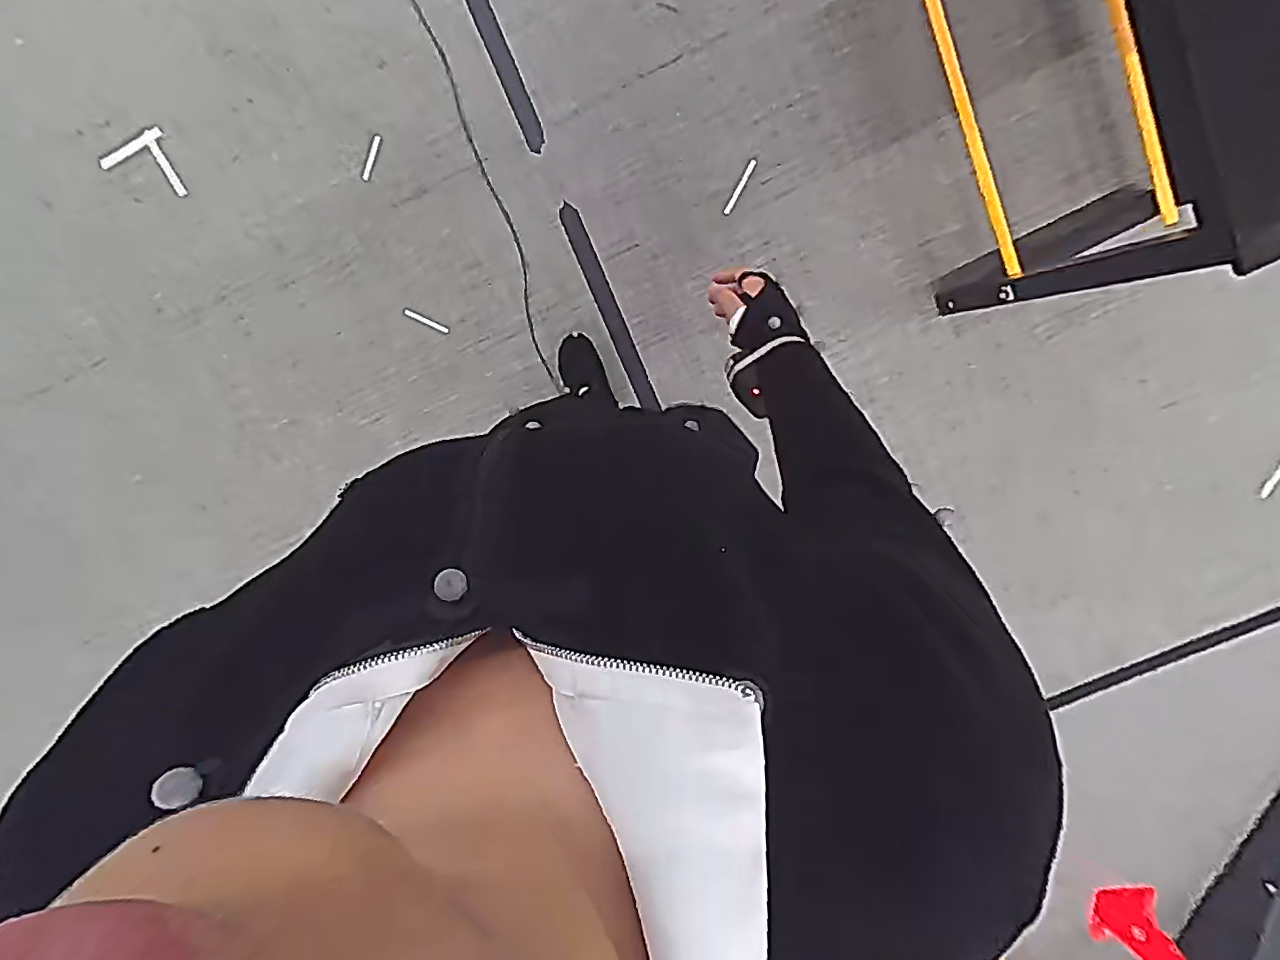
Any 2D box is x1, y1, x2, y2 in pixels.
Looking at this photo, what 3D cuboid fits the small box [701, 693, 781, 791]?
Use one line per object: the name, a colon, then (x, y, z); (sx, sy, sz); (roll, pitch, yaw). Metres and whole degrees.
small box: (0.284, 0.745, 1.561); (0.168, 0.176, 0.179); (-23, 100, 5)
